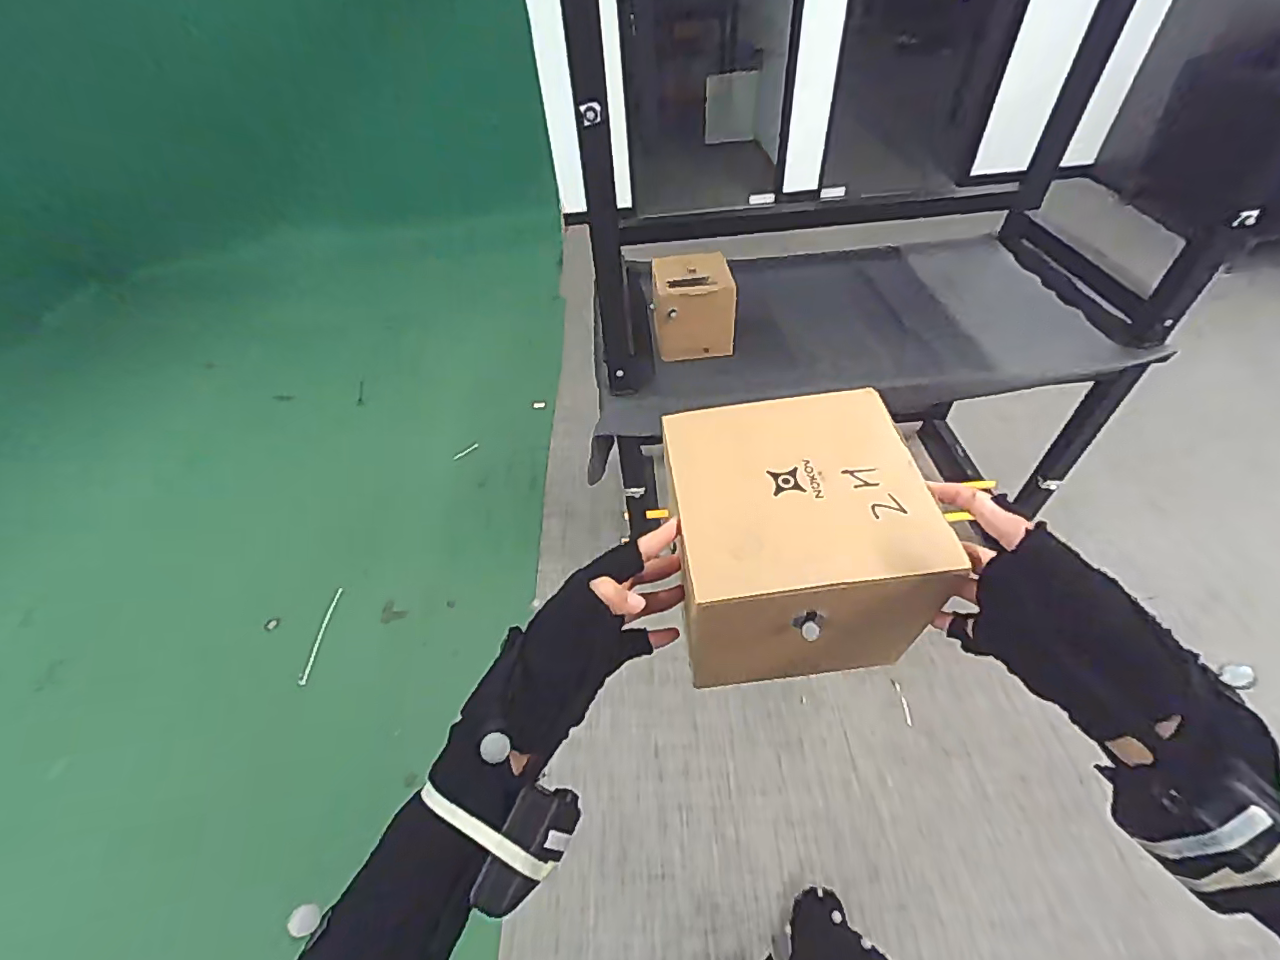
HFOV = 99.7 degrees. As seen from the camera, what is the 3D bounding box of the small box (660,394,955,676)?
[{"bbox_3d":[0.116,0.053,0.456,0.179,0.176,0.168,-7,52,0],"label":"small box"}]
